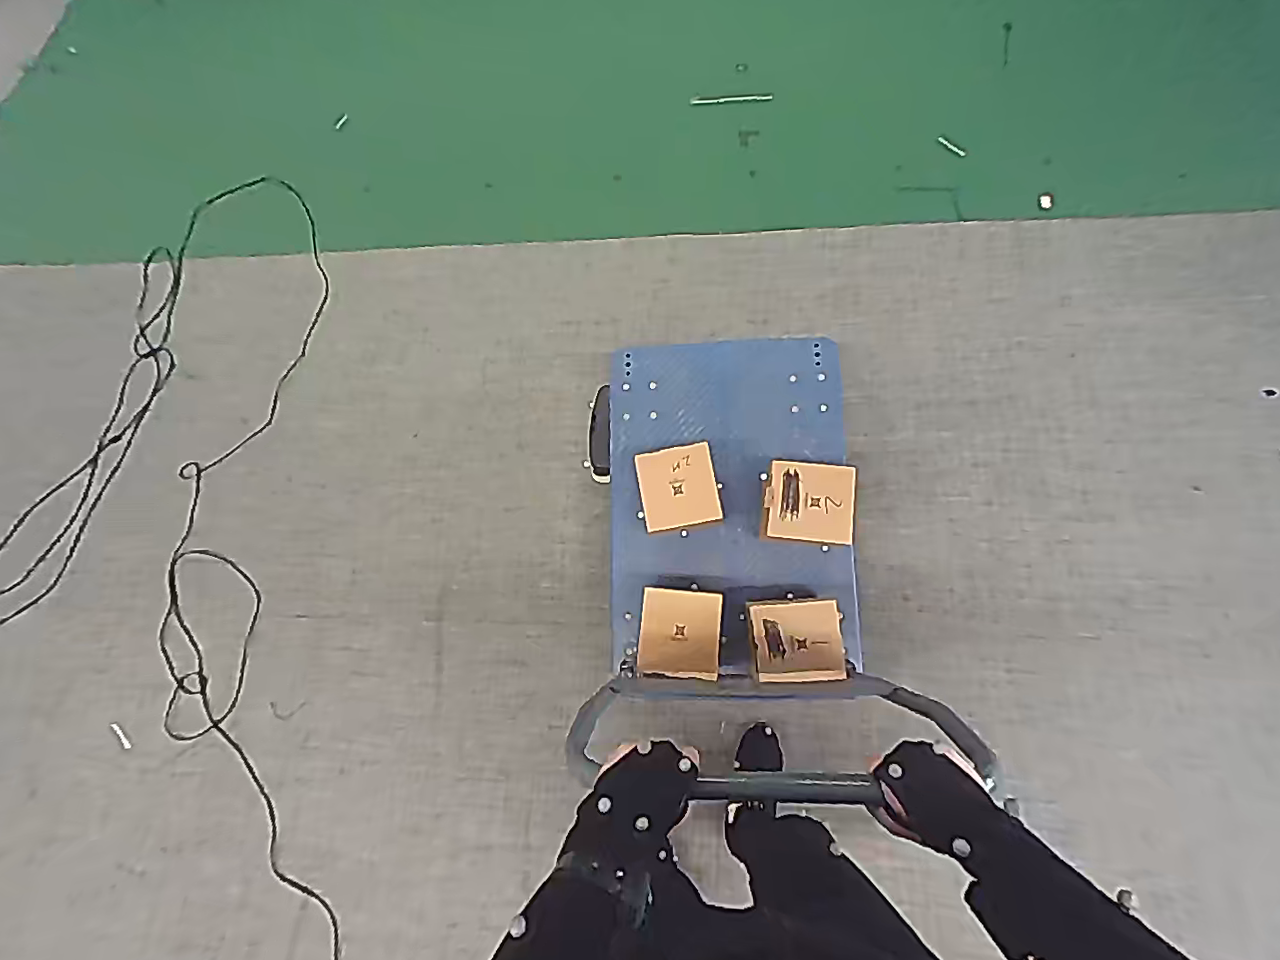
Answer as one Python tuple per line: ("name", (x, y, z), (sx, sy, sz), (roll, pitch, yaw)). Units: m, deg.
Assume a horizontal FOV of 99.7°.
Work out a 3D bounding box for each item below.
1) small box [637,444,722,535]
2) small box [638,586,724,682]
("small box", (0.092, 0.030, 1.246), (0.168, 0.176, 0.179), (-10, 79, 3))
("small box", (0.091, 0.331, 1.194), (0.168, 0.176, 0.179), (5, 81, 6))
